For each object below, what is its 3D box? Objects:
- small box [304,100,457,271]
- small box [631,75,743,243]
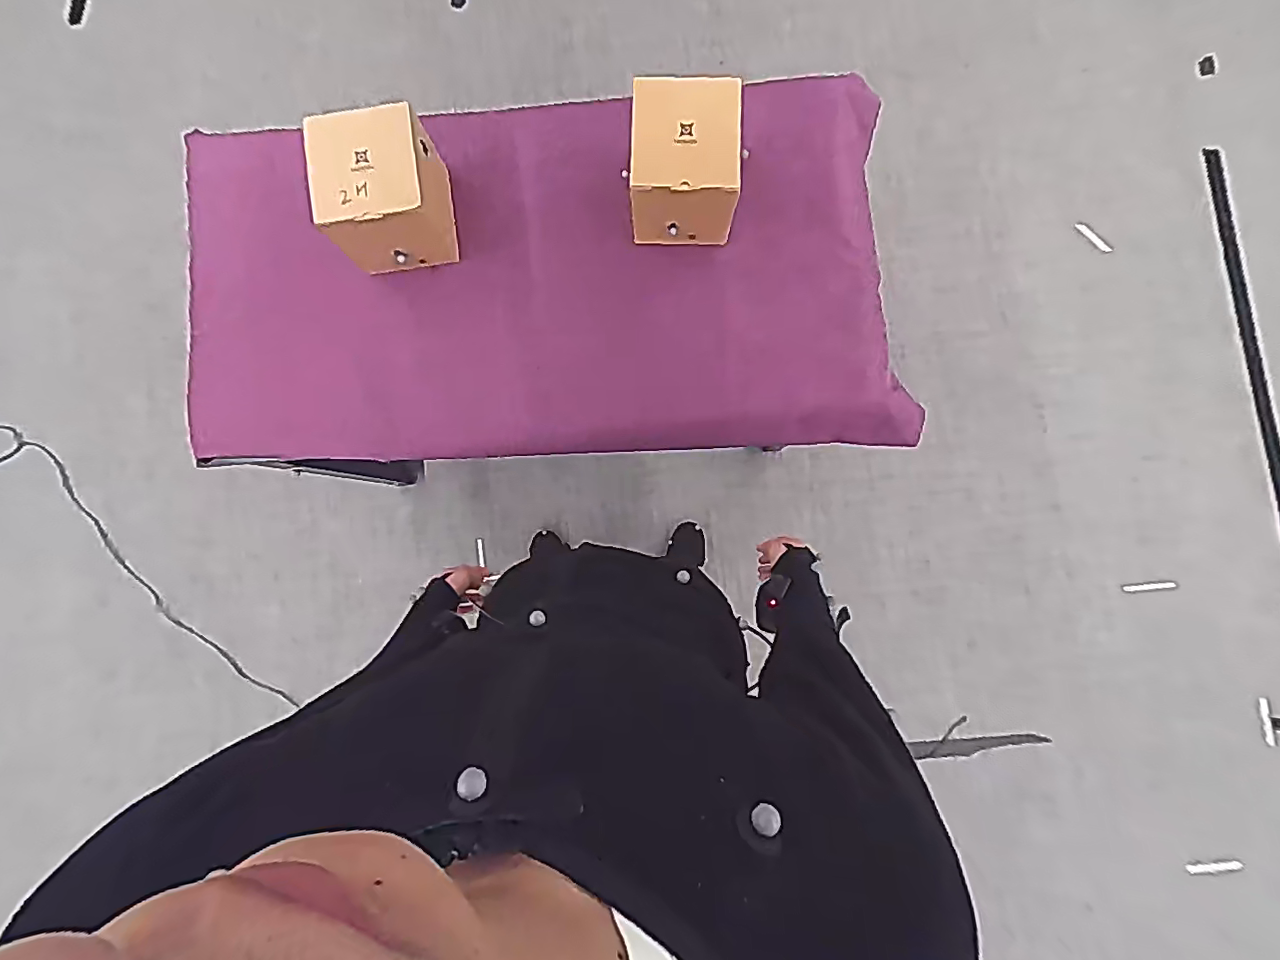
[{"bbox_3d":[-0.415,-0.473,0.888,0.168,0.176,0.179,-8,86,0],"label":"small box"},{"bbox_3d":[0.071,-0.515,0.885,0.168,0.176,0.179,1,87,1],"label":"small box"}]
